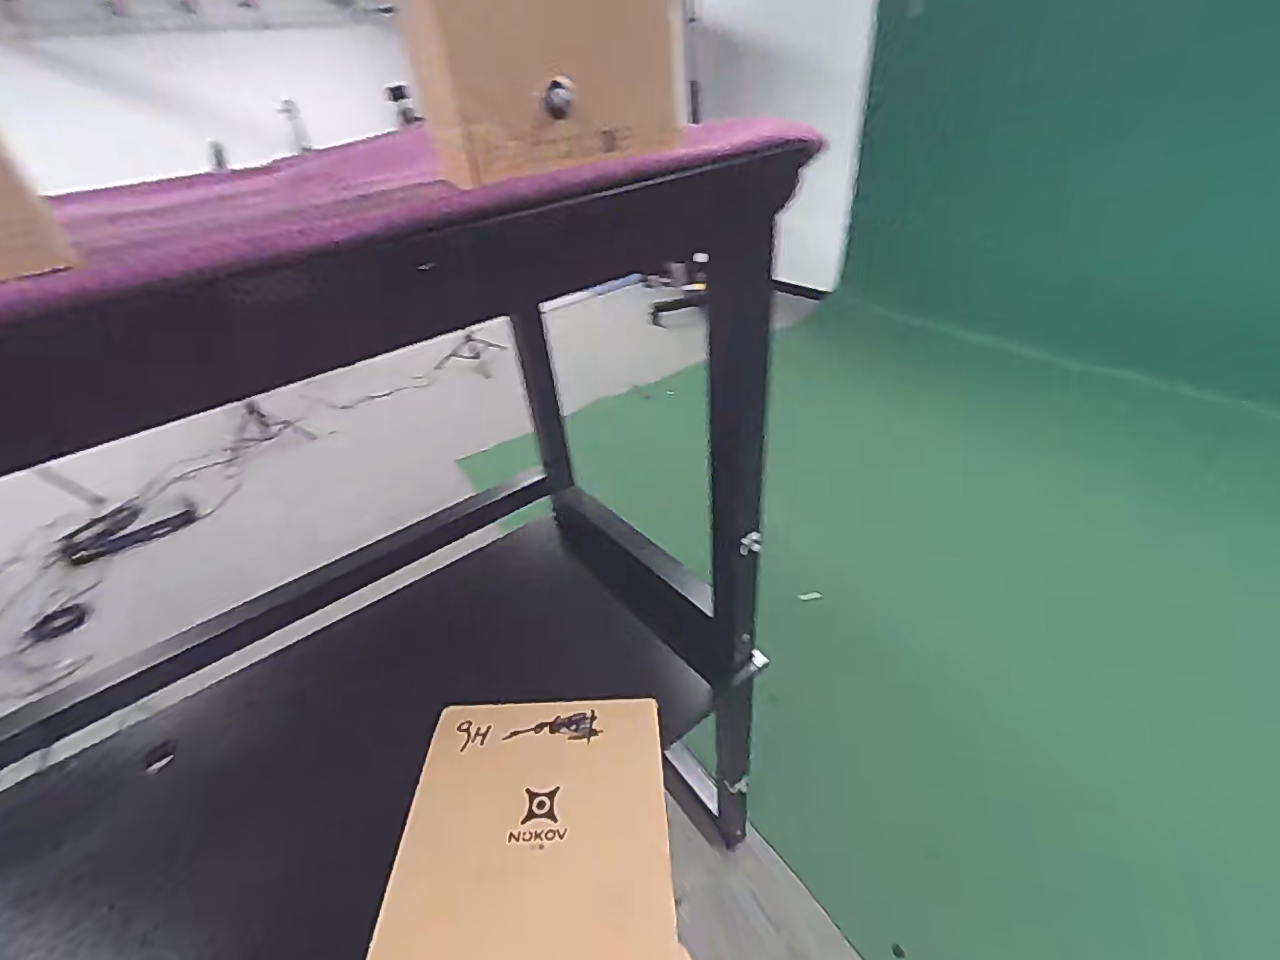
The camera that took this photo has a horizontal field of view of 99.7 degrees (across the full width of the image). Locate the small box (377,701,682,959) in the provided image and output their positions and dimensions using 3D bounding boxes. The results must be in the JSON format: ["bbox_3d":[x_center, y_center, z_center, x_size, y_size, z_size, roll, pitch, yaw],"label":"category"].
[{"bbox_3d":[-0.061,0.285,0.384,0.168,0.176,0.179,1,33,-3],"label":"small box"}]

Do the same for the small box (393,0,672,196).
[{"bbox_3d":[-0.087,-0.333,0.423,0.168,0.176,0.179,-21,41,-18],"label":"small box"}]
